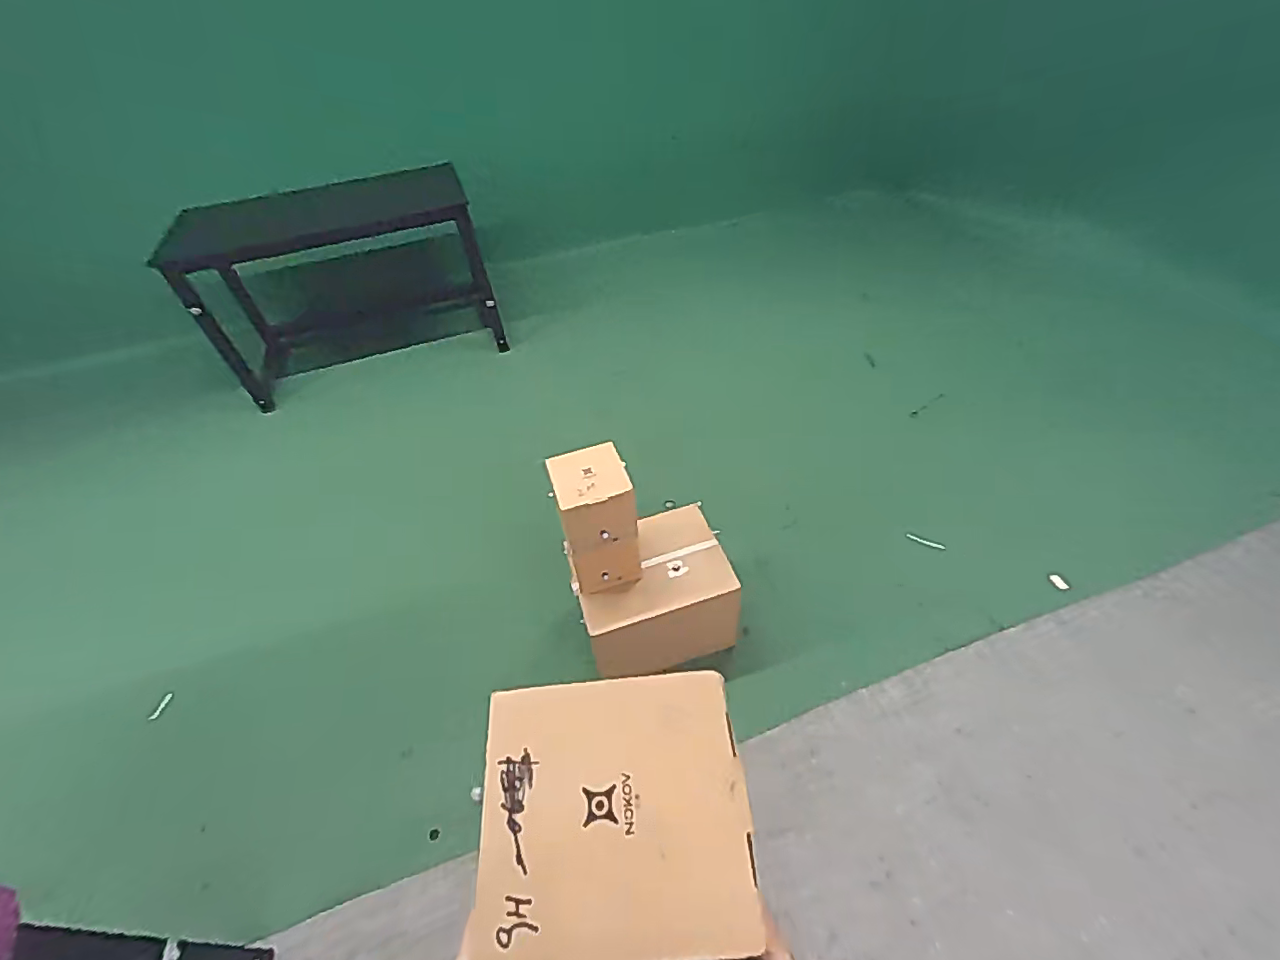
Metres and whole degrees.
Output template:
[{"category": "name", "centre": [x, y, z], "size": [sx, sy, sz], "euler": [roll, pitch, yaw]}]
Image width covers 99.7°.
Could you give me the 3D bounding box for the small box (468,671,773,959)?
[{"category": "small box", "centre": [-0.015, 0.258, 0.414], "size": [0.179, 0.176, 0.168], "euler": [-3, 51, -2]}]

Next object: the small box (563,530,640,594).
[{"category": "small box", "centre": [-0.103, 0.160, 1.386], "size": [0.168, 0.176, 0.179], "euler": [-15, 46, -10]}]

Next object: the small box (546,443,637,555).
[{"category": "small box", "centre": [-0.112, 0.045, 1.268], "size": [0.168, 0.176, 0.179], "euler": [-17, 46, -10]}]

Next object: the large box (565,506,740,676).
[{"category": "large box", "centre": [0.032, 0.334, 1.541], "size": [0.408, 0.320, 0.320], "euler": [-15, 47, -10]}]
